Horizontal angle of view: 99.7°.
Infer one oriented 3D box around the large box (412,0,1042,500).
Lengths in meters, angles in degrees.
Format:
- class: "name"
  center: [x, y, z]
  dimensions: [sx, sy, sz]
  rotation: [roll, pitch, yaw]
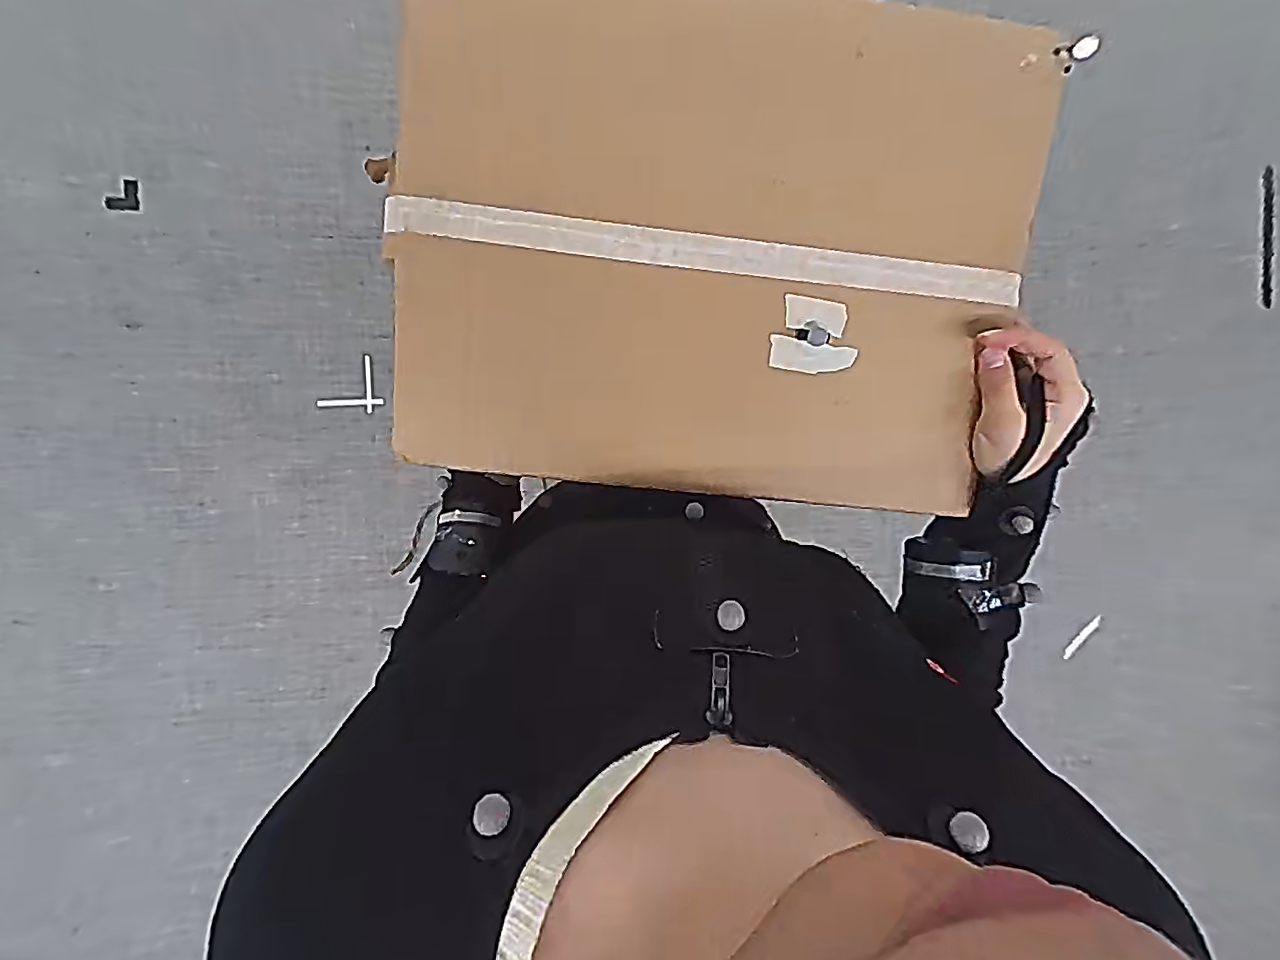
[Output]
- class: "large box"
  center: [0.041, -0.172, 0.503]
  dimensions: [0.408, 0.320, 0.320]
  rotation: [4, 101, -5]
